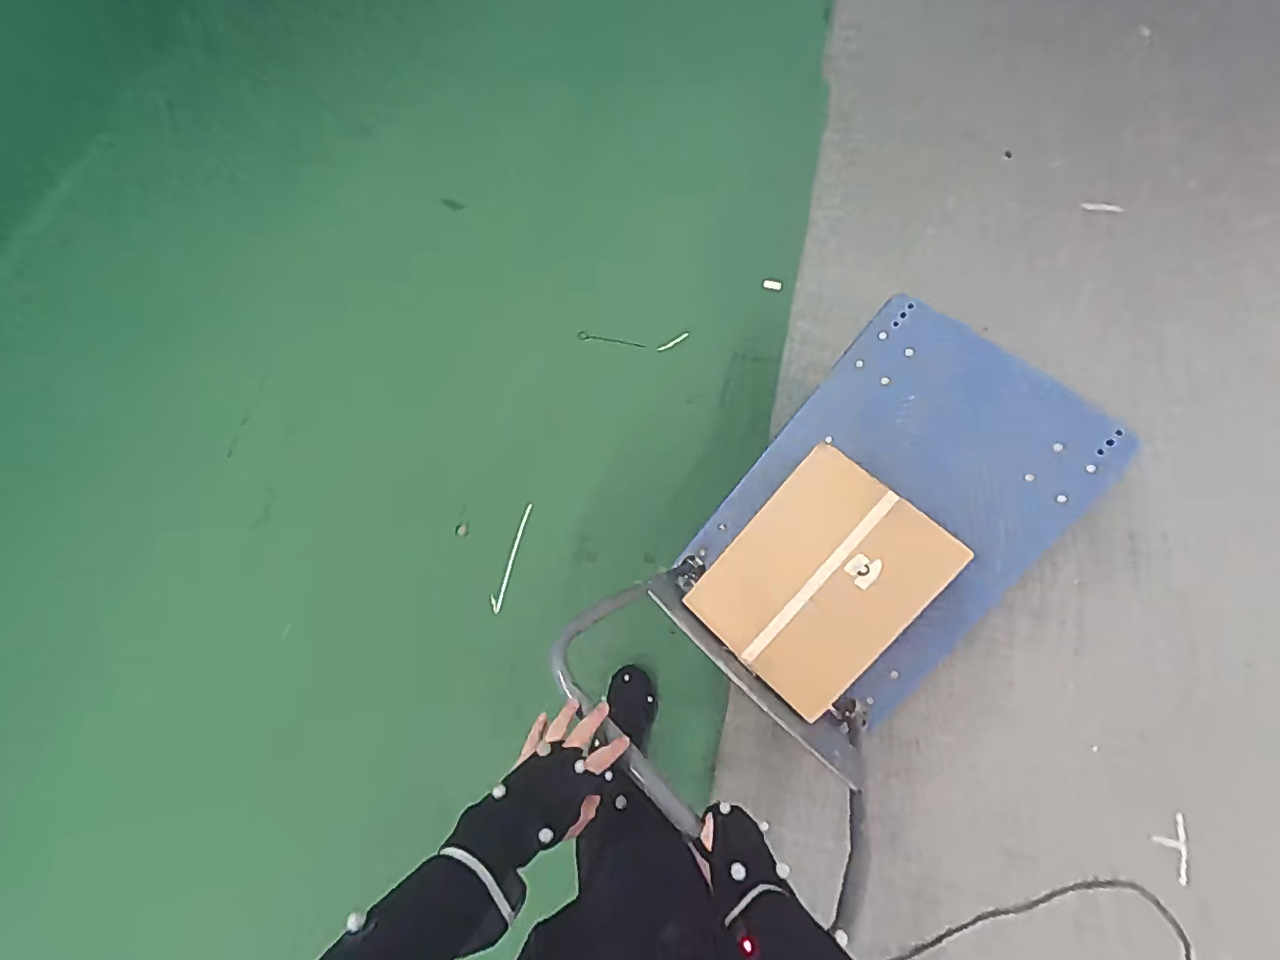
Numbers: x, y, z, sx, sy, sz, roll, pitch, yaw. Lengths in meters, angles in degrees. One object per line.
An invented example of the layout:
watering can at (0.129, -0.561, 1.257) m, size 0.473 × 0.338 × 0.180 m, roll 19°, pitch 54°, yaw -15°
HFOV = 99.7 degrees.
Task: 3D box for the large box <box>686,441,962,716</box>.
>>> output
large box at (0.362, 0.191, 1.116) m, size 0.320 × 0.320 × 0.408 m, roll 42°, pitch 98°, yaw 18°
